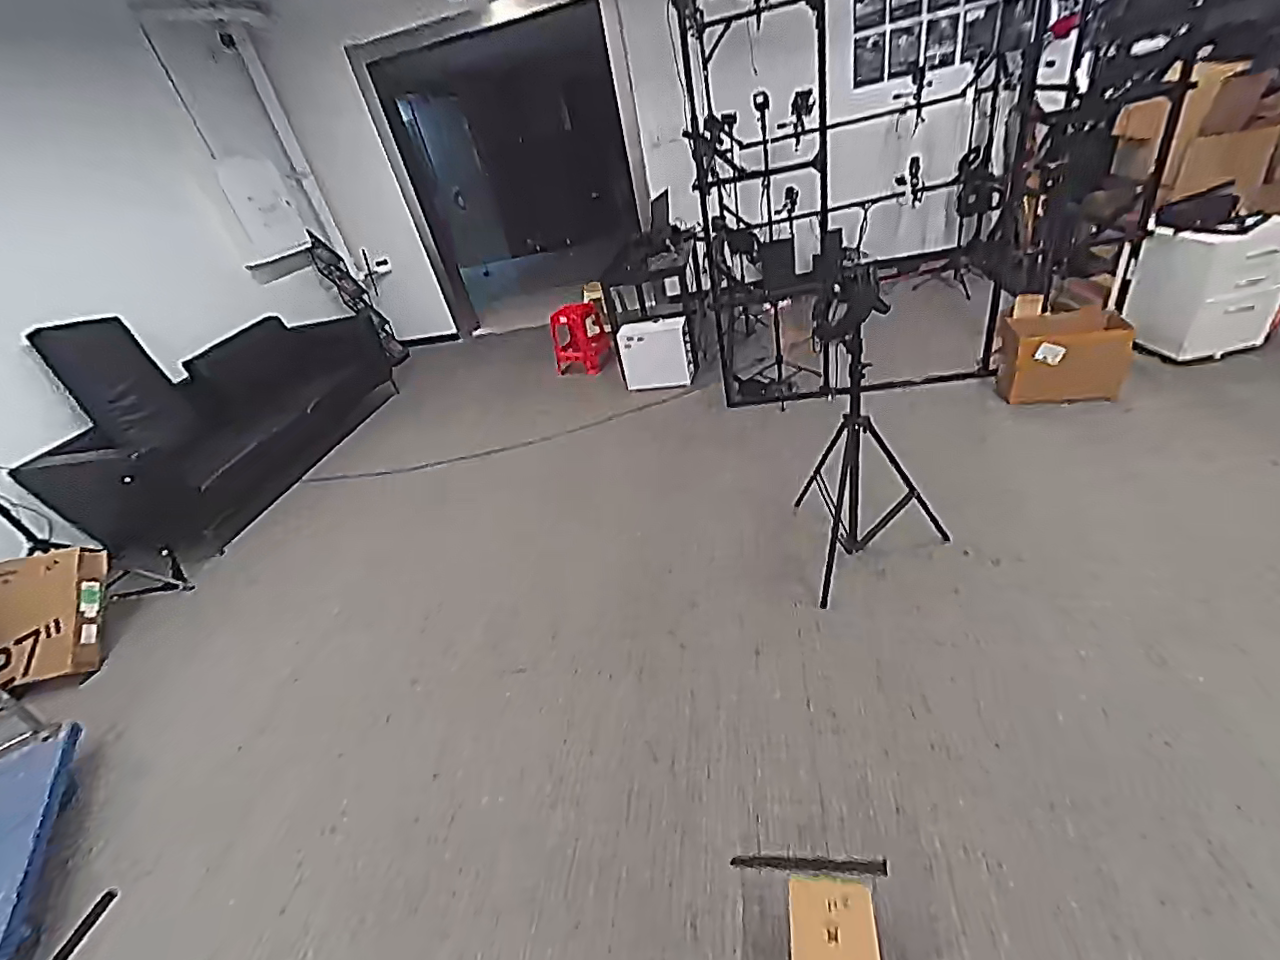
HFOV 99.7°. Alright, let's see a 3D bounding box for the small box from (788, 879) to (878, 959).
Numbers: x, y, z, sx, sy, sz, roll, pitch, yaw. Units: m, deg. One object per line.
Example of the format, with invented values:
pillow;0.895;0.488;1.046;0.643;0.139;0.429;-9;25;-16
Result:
small box;0.395;0.961;1.105;0.168;0.176;0.179;-3;33;15
